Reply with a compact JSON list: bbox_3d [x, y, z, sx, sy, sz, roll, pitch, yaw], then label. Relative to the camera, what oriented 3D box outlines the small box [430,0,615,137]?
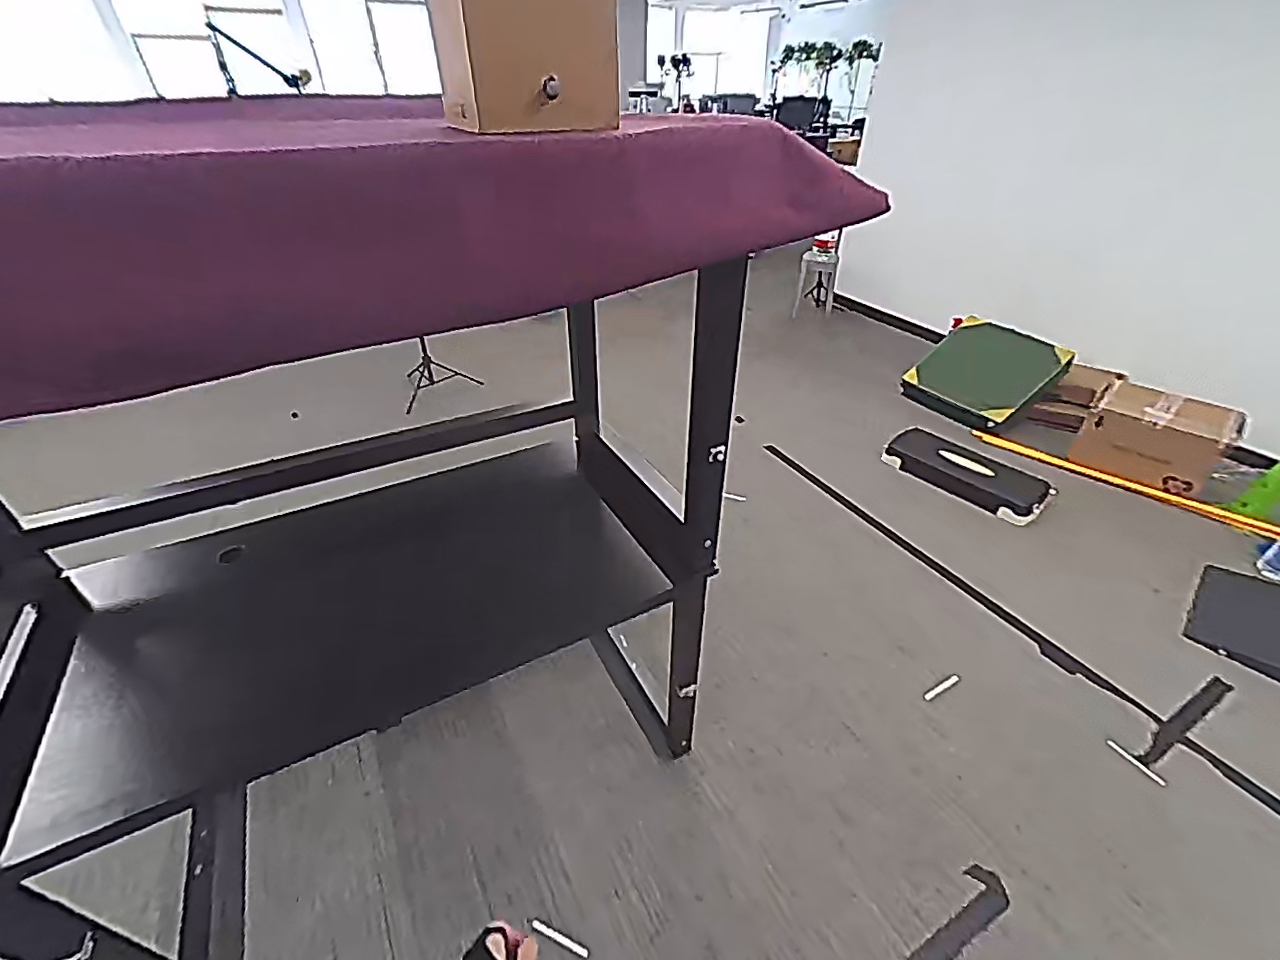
[{"bbox_3d":[-0.138,-0.511,0.635,0.179,0.176,0.168,-18,39,-23],"label":"small box"}]
